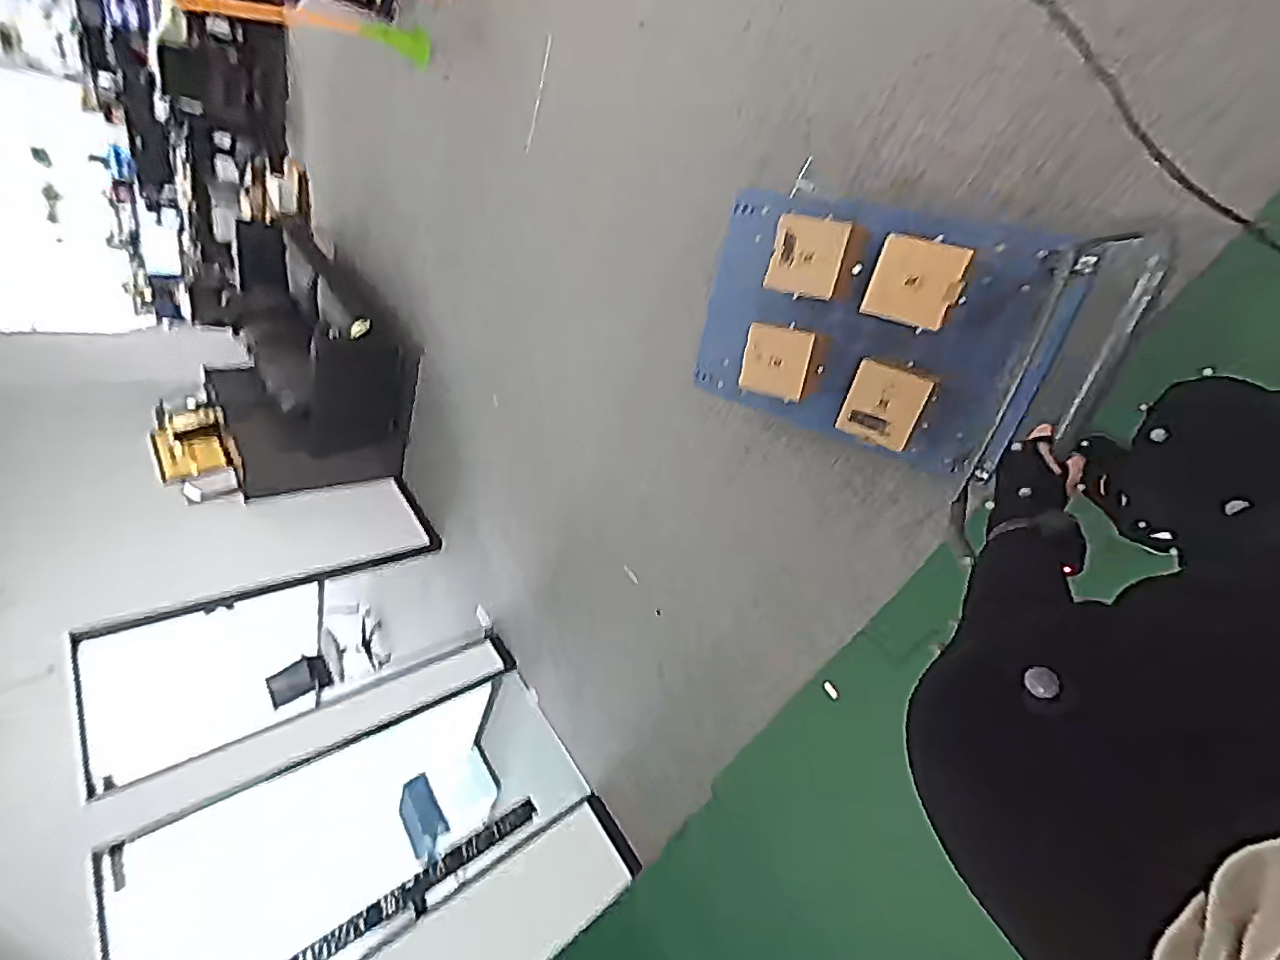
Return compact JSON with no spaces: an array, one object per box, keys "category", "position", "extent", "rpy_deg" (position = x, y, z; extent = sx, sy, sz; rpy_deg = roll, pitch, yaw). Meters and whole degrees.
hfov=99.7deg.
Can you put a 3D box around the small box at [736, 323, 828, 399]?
[{"category":"small box","position":[0.384,-0.327,1.451],"extent":[0.179,0.176,0.168],"rpy_deg":[21,115,30]}]

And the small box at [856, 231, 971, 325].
[{"category":"small box","position":[0.628,-0.458,1.237],"extent":[0.179,0.176,0.168],"rpy_deg":[26,118,26]}]

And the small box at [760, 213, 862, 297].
[{"category":"small box","position":[0.427,-0.556,1.348],"extent":[0.179,0.176,0.168],"rpy_deg":[23,117,28]}]
